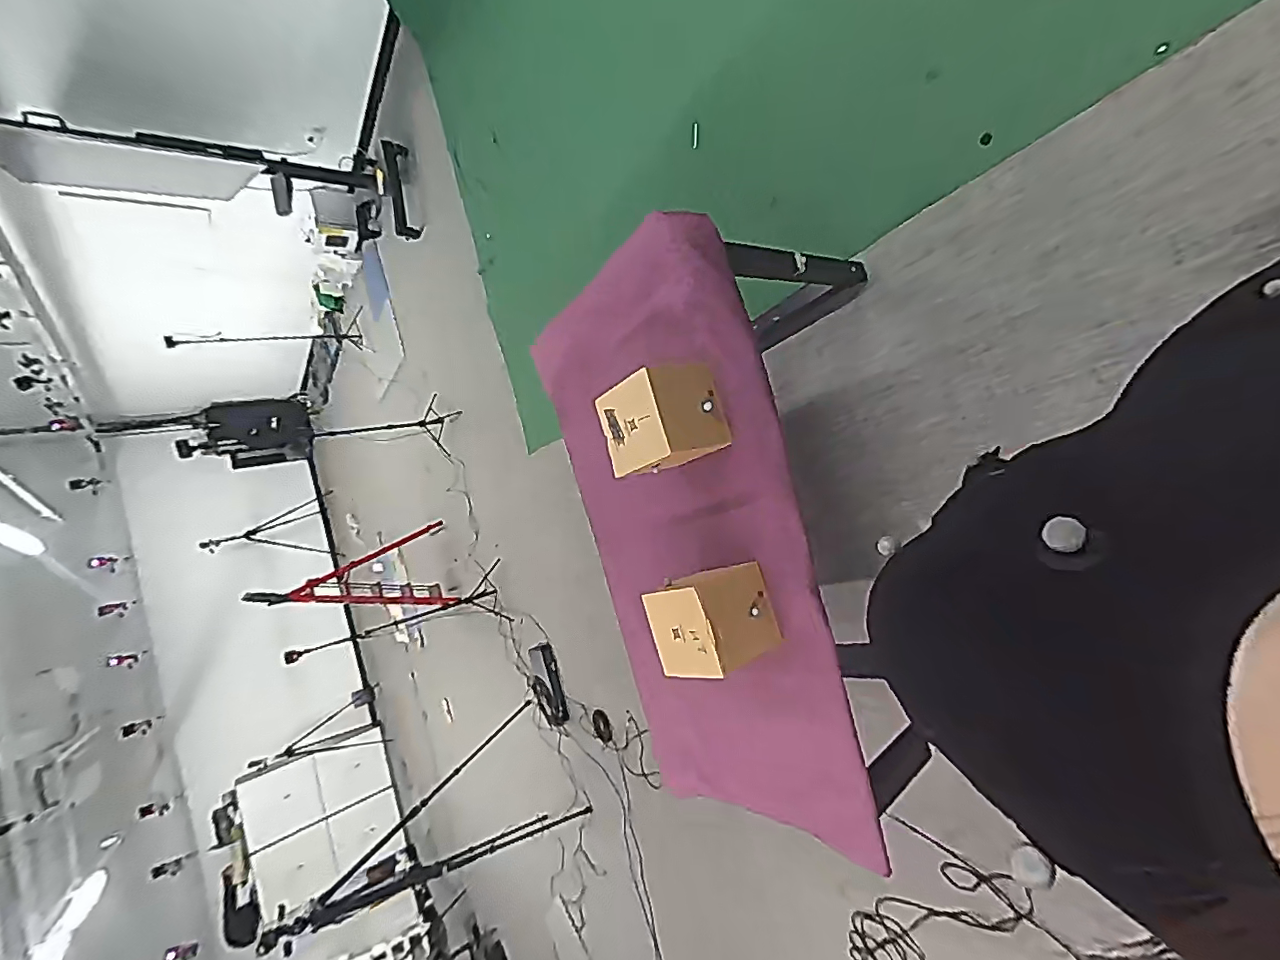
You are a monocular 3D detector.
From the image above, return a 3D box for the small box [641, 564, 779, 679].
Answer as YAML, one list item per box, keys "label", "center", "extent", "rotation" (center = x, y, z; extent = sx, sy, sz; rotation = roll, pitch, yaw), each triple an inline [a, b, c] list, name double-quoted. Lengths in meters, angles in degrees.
- label: "small box"
  center: [0.133, 0.269, 1.043]
  extent: [0.179, 0.176, 0.168]
  rotation: [-25, 81, 52]

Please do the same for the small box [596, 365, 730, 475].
- label: "small box"
  center: [0.044, -0.116, 1.056]
  extent: [0.179, 0.176, 0.168]
  rotation: [-22, 83, 51]
